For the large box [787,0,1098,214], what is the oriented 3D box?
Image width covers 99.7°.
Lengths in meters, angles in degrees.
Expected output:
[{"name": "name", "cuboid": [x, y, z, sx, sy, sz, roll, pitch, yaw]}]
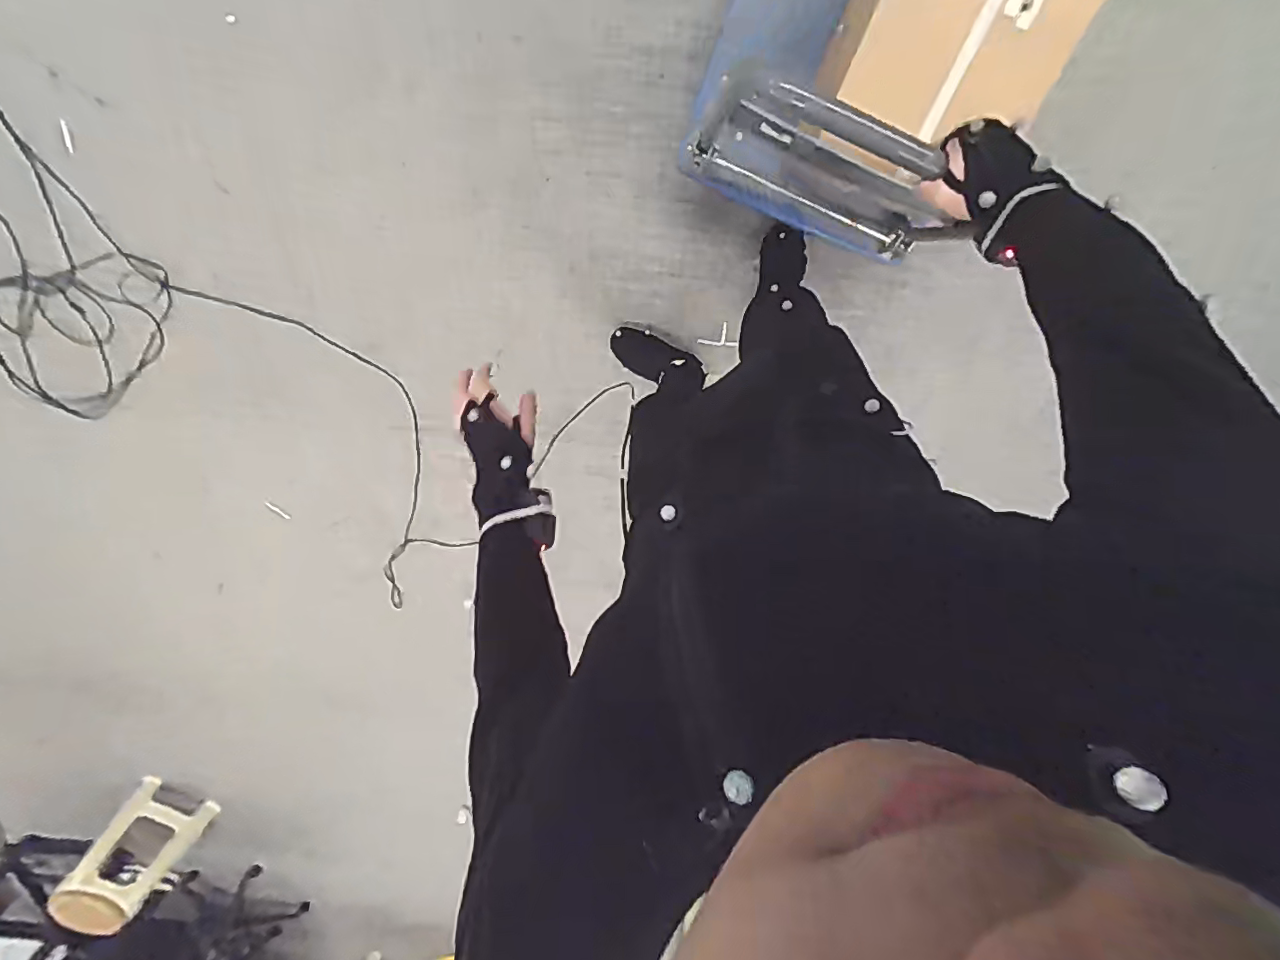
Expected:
[{"name": "large box", "cuboid": [0.512, -0.741, 0.968, 0.320, 0.320, 0.408, 19, 115, -8]}]
